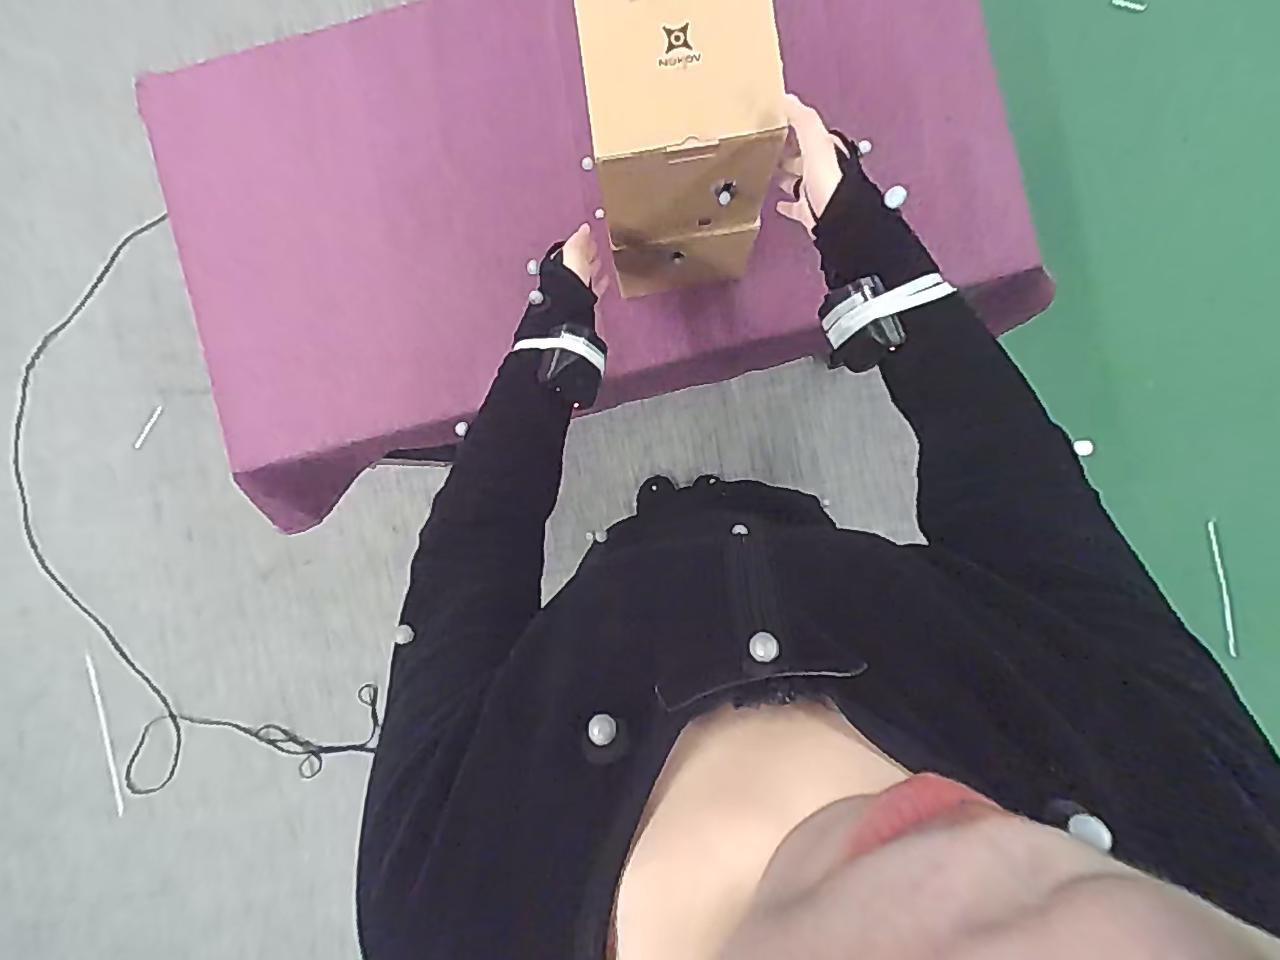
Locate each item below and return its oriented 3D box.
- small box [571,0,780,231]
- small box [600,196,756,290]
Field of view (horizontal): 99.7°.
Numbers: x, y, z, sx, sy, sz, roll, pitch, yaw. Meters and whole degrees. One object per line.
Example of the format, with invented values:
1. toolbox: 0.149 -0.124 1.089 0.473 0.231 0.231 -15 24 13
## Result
1. small box: 0.033 -0.367 0.533 0.168 0.176 0.179 -7 90 3
2. small box: 0.044 -0.360 0.695 0.179 0.176 0.168 -8 91 4
